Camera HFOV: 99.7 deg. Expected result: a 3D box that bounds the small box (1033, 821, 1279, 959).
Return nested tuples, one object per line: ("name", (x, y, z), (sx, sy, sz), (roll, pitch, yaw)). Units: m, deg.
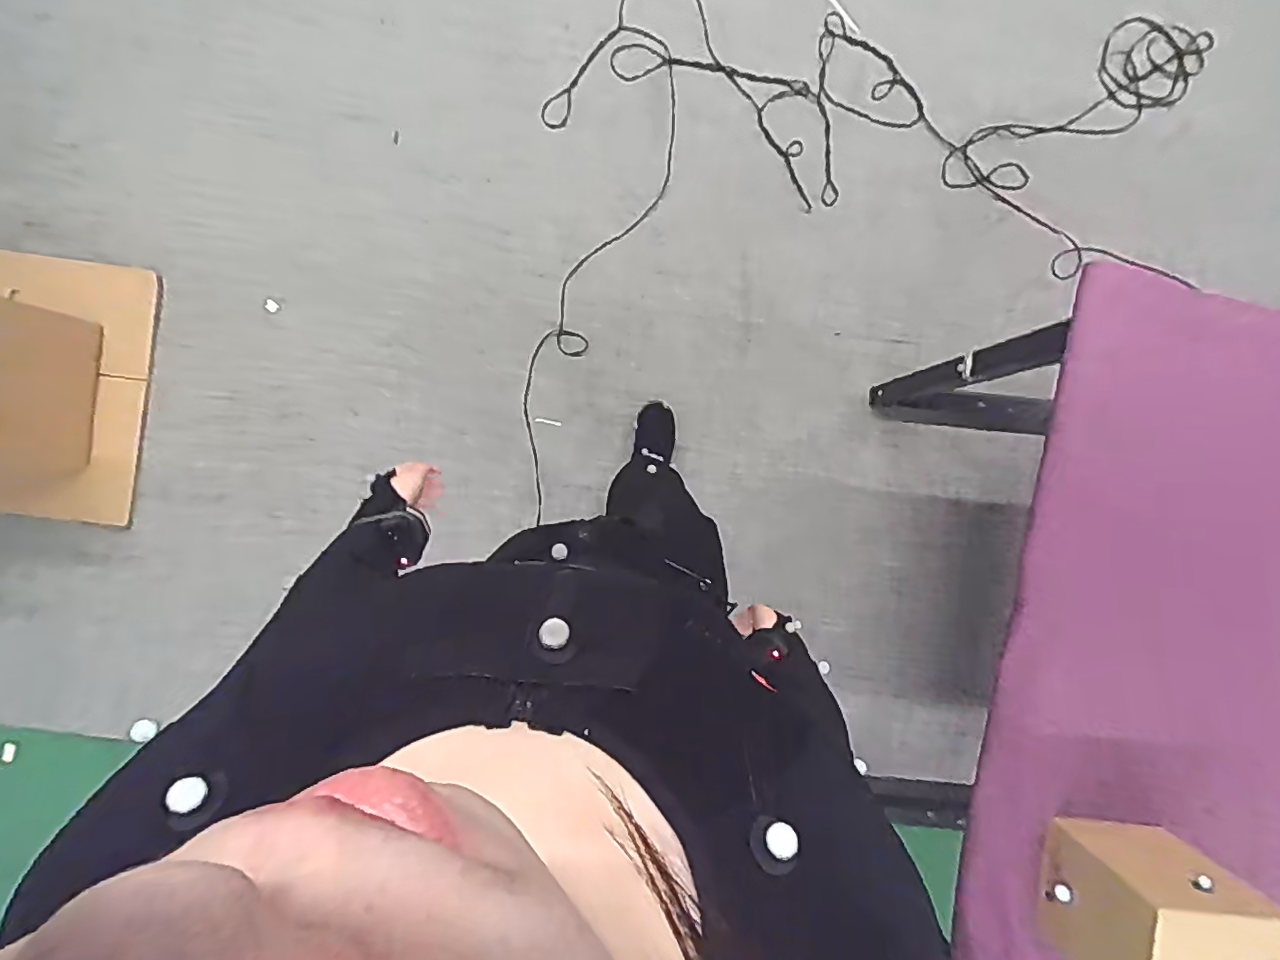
("small box", (0.670, 0.582, 0.709), (0.179, 0.176, 0.168), (7, 90, -1))
